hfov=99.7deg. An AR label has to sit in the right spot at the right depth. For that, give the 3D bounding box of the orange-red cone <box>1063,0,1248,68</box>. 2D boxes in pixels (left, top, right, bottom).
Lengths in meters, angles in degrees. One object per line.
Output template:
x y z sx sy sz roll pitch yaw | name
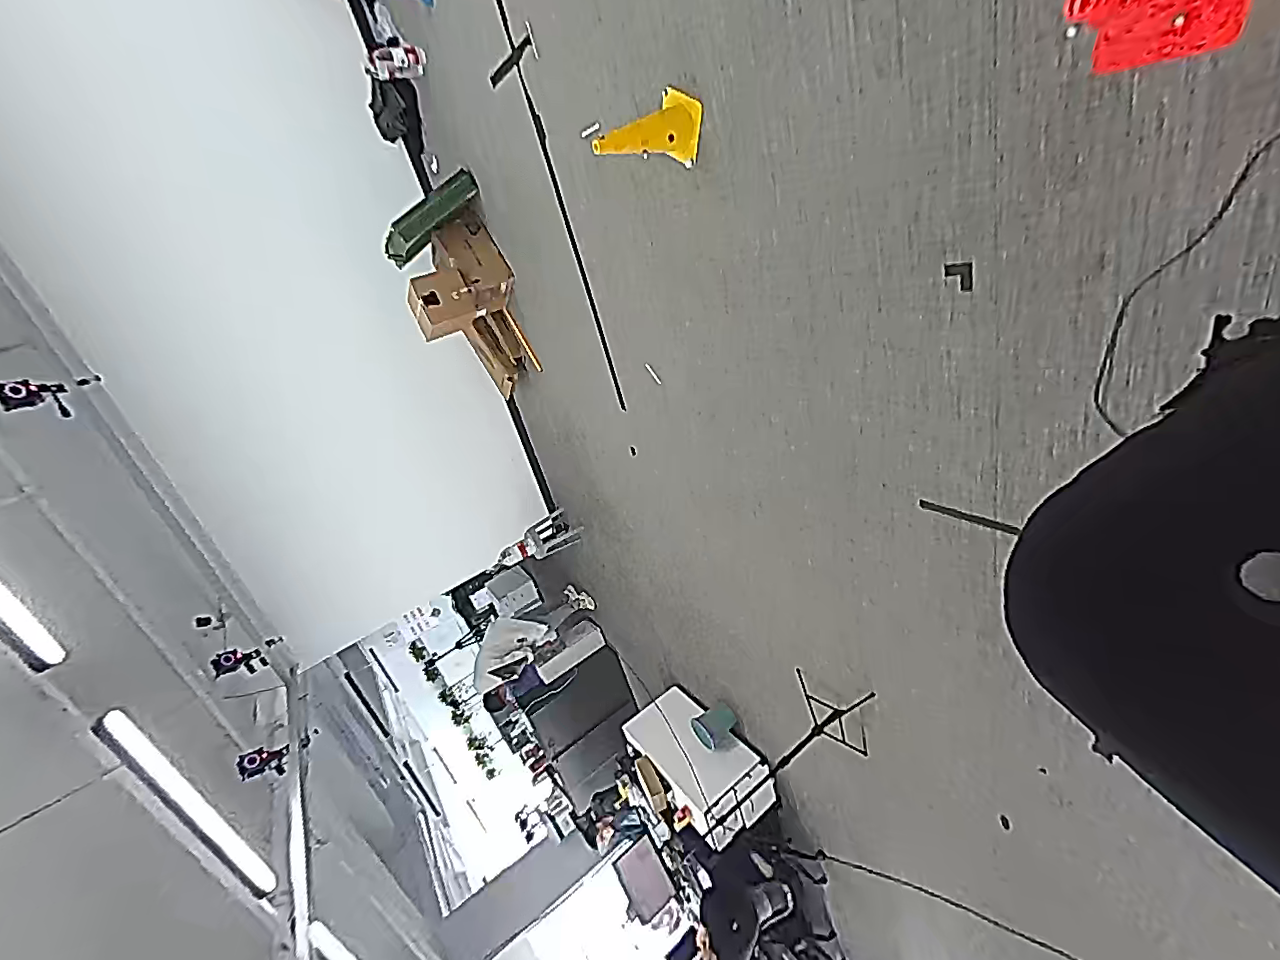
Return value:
0.746 -0.742 0.820 0.199 0.360 0.198 32 142 49 | orange-red cone
